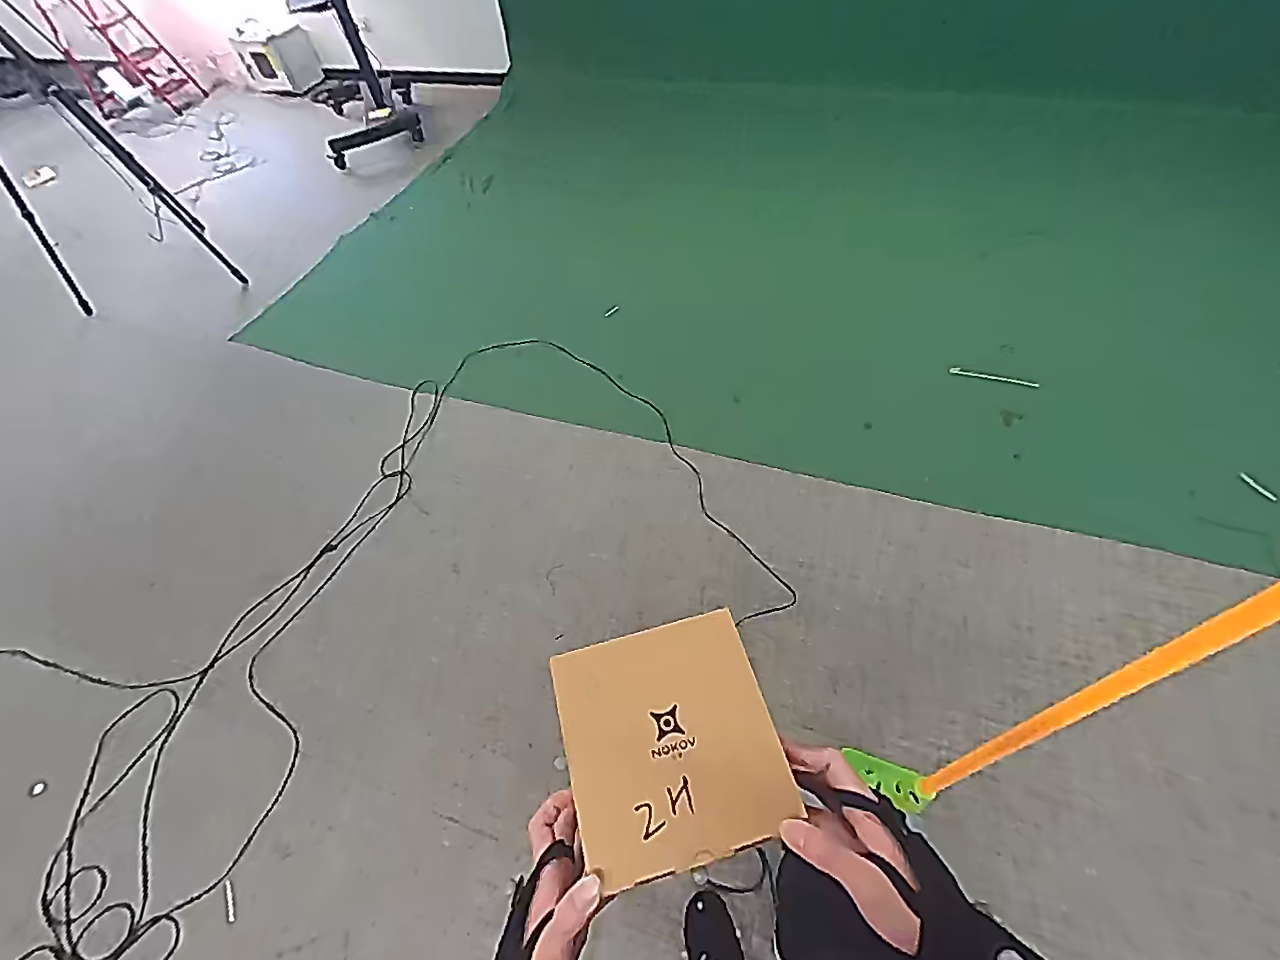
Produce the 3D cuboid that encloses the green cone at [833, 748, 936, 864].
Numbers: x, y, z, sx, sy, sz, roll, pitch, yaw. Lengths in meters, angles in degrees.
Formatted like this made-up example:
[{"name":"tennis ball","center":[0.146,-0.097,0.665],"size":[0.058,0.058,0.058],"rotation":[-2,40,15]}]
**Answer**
[{"name":"green cone","center":[0.564,0.679,1.168],"size":[0.202,0.368,0.200],"rotation":[14,57,17]}]
